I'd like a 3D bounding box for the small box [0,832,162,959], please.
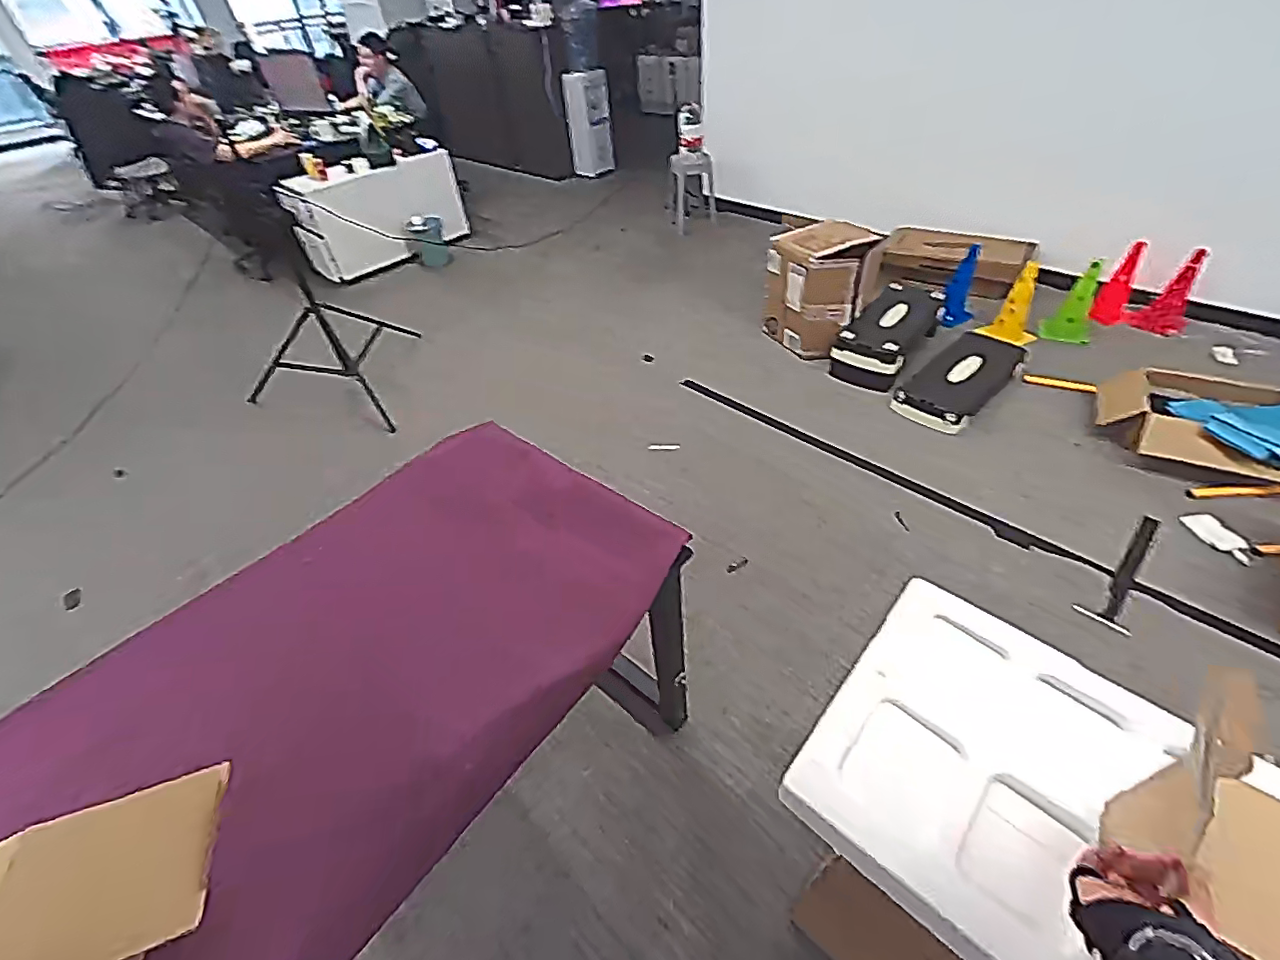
[{"bbox_3d":[-0.616,0.481,0.507,0.179,0.176,0.168,-28,37,-7],"label":"small box"}]
